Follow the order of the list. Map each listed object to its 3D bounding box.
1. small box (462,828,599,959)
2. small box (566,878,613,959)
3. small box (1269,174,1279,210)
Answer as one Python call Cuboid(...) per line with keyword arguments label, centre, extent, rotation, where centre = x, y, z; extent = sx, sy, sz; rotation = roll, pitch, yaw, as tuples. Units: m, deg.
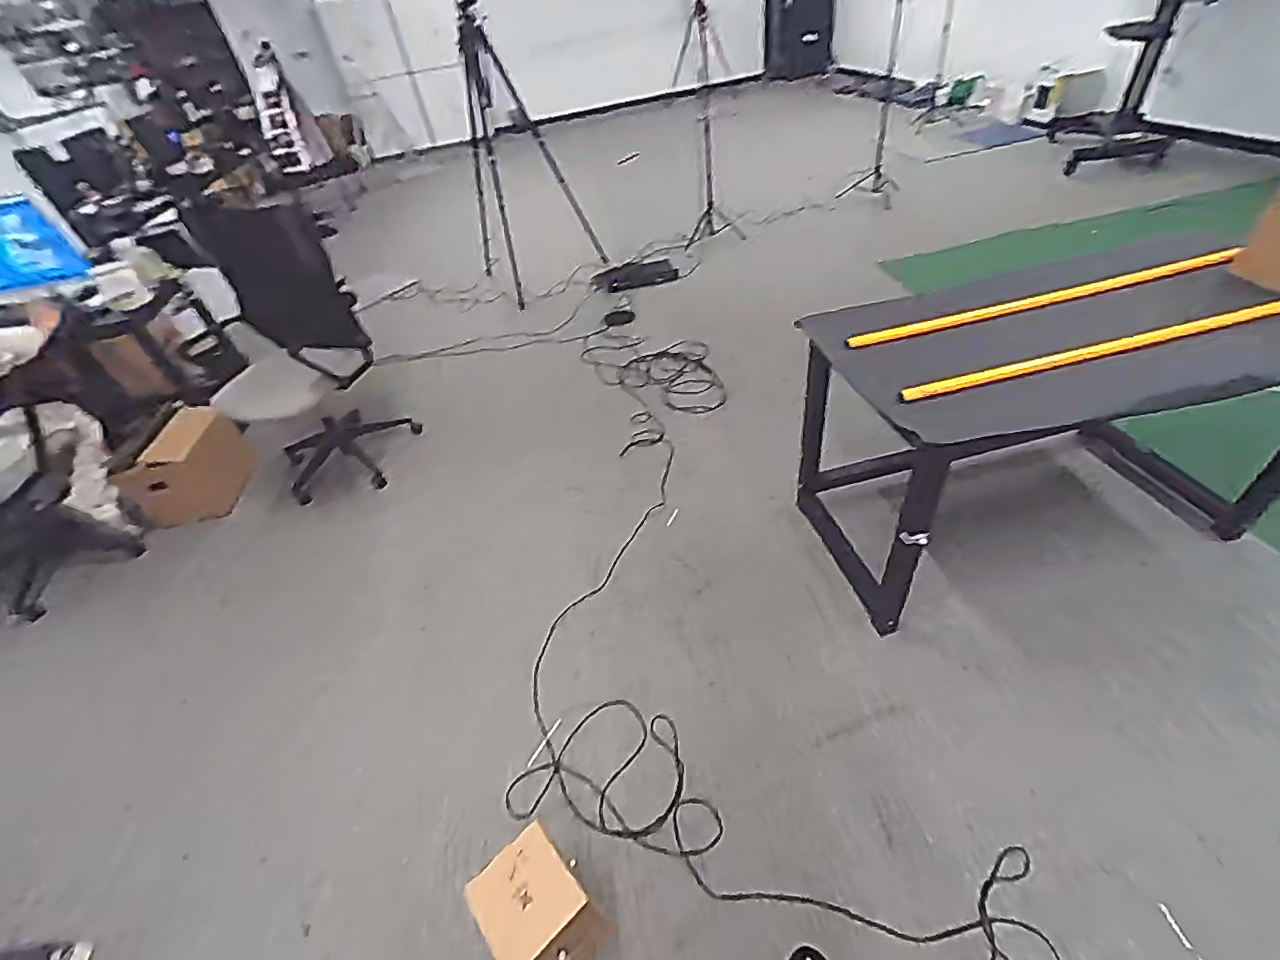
Cuboid(label="small box", centre=(-0.198, 0.809, 1.018), extent=(0.168, 0.176, 0.179), rotation=(-35, 48, -25))
Cuboid(label="small box", centre=(-0.177, 0.932, 1.127), extent=(0.179, 0.176, 0.168), rotation=(28, 55, 34))
Cuboid(label="small box", centre=(1.561, -0.674, 1.181), extent=(0.179, 0.176, 0.168), rotation=(-11, 43, 0))
